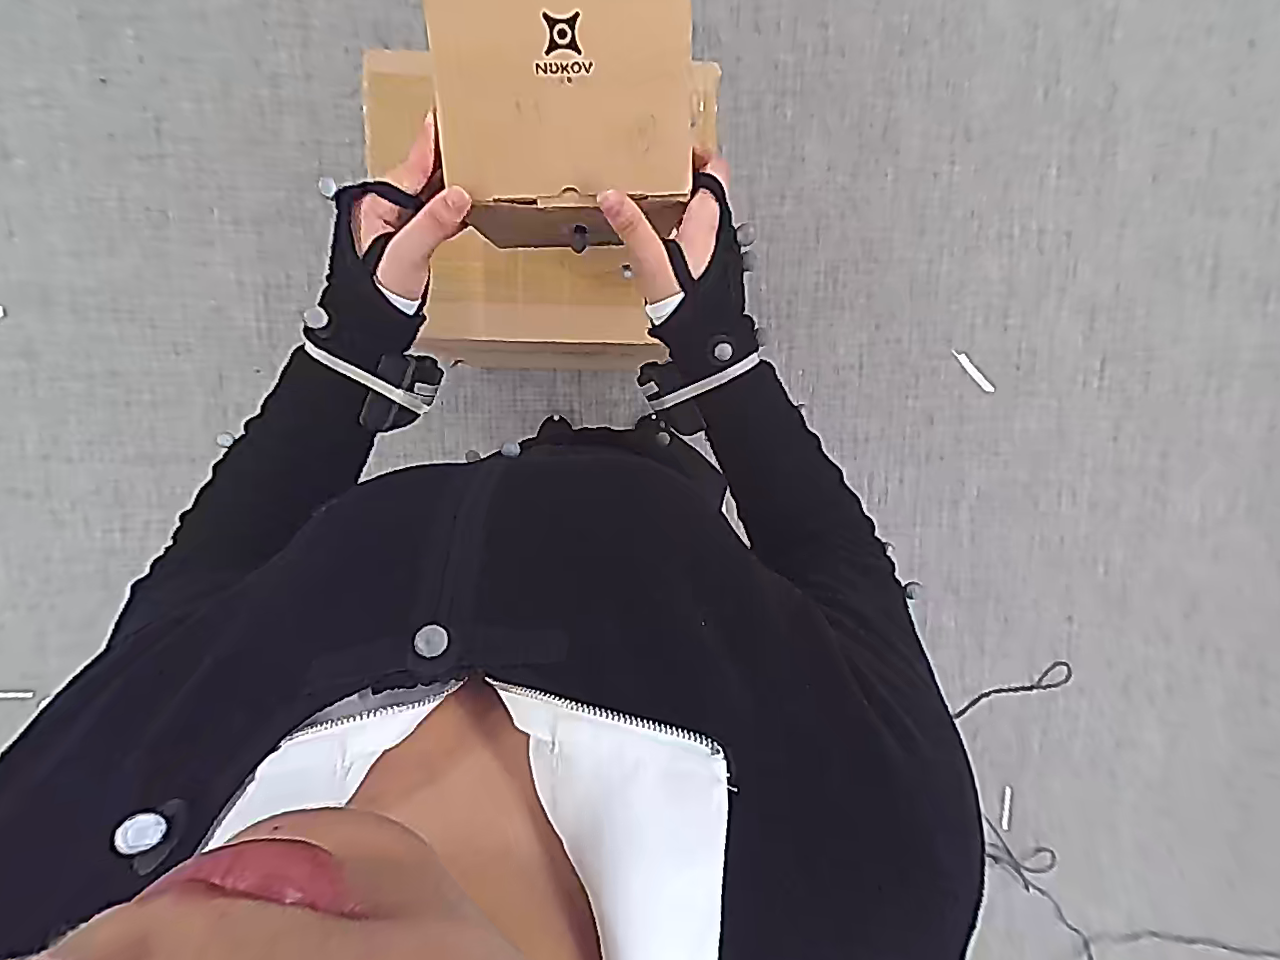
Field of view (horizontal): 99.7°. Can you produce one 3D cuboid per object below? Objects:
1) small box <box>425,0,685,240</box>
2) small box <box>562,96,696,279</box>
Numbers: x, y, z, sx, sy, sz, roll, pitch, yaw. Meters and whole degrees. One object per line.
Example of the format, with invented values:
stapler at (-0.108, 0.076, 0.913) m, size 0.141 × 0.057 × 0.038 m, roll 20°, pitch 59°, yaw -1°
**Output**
small box at (-0.055, -0.291, 0.423) m, size 0.168 × 0.176 × 0.179 m, roll -3°, pitch 104°, yaw -2°
small box at (-0.018, -0.386, 0.735) m, size 0.168 × 0.176 × 0.179 m, roll 1°, pitch 98°, yaw -1°
